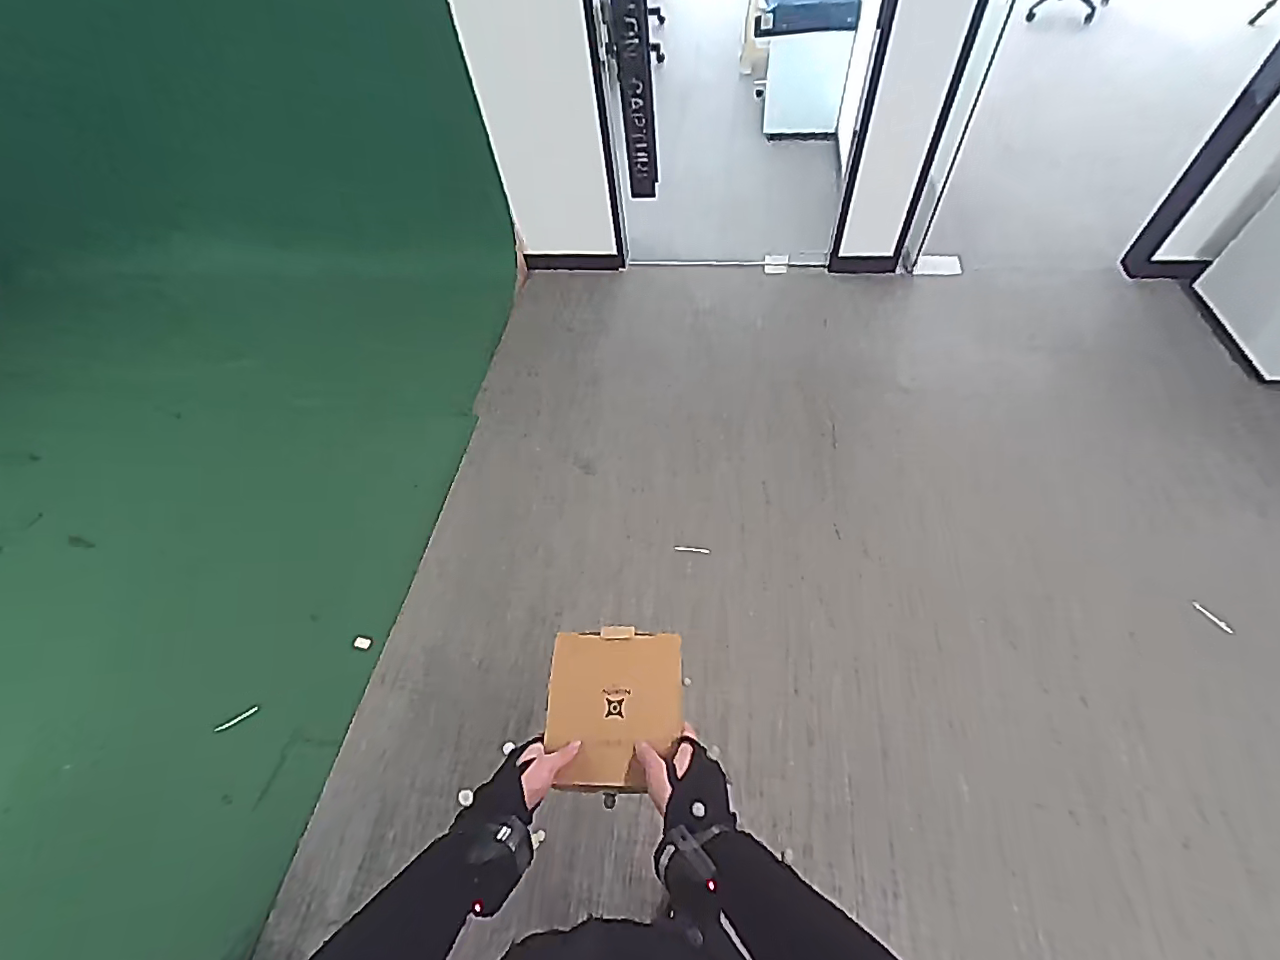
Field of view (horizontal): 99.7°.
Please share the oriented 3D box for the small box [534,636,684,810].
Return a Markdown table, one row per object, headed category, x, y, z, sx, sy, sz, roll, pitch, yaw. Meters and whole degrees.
| category | x | y | z | sx | sy | sz | roll | pitch | yaw |
| --- | --- | --- | --- | --- | --- | --- | --- | --- | --- |
| small box | -0.028 | 0.319 | 0.705 | 0.168 | 0.176 | 0.179 | 1 | 56 | 5 |
